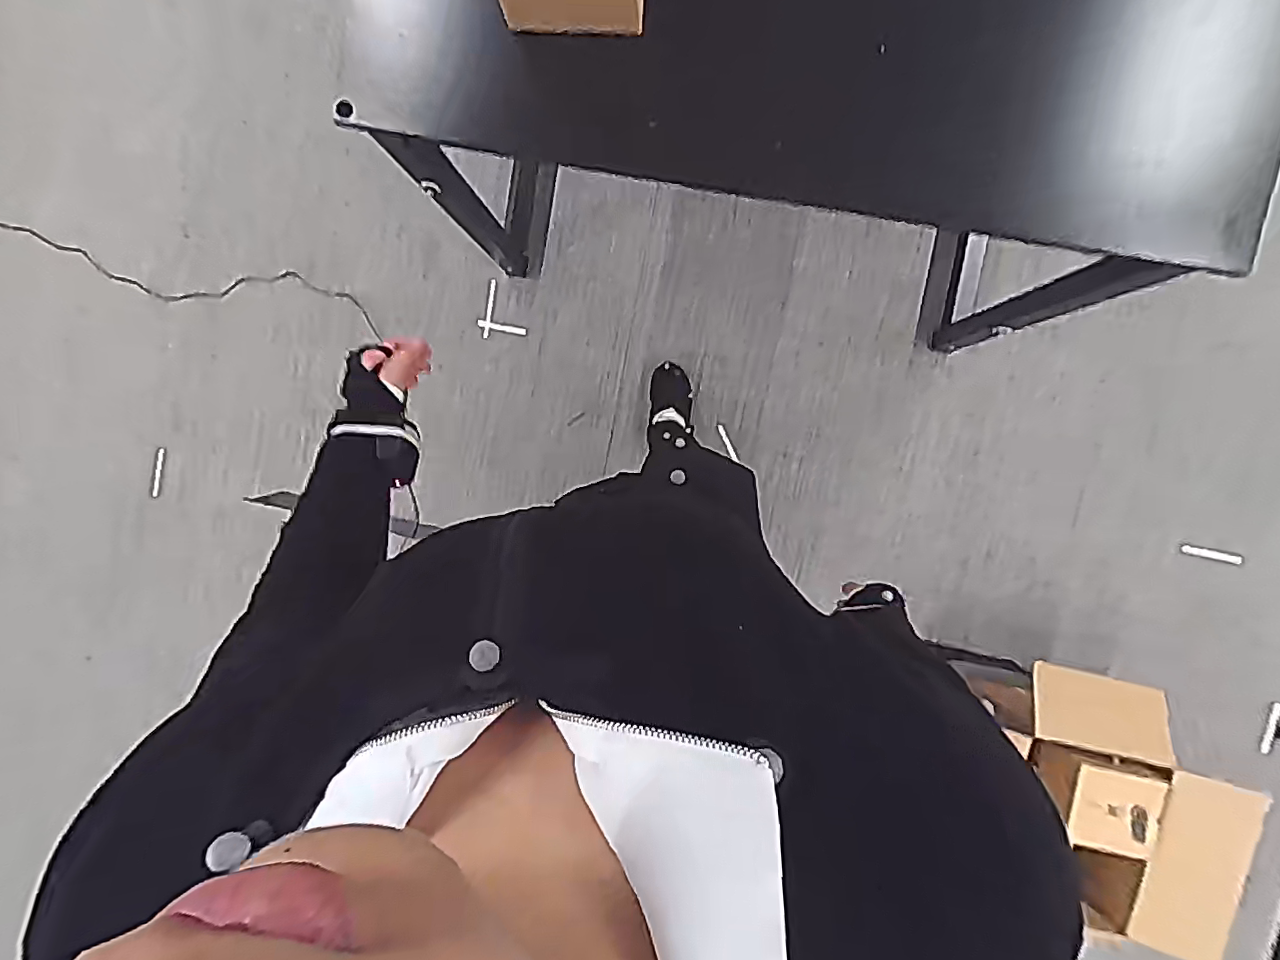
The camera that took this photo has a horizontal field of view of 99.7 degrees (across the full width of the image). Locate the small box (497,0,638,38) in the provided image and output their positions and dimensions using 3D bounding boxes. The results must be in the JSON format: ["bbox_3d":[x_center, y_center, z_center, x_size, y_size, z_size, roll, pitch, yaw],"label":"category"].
[{"bbox_3d":[-0.087,-0.658,0.627,0.179,0.176,0.168,4,94,3],"label":"small box"}]
